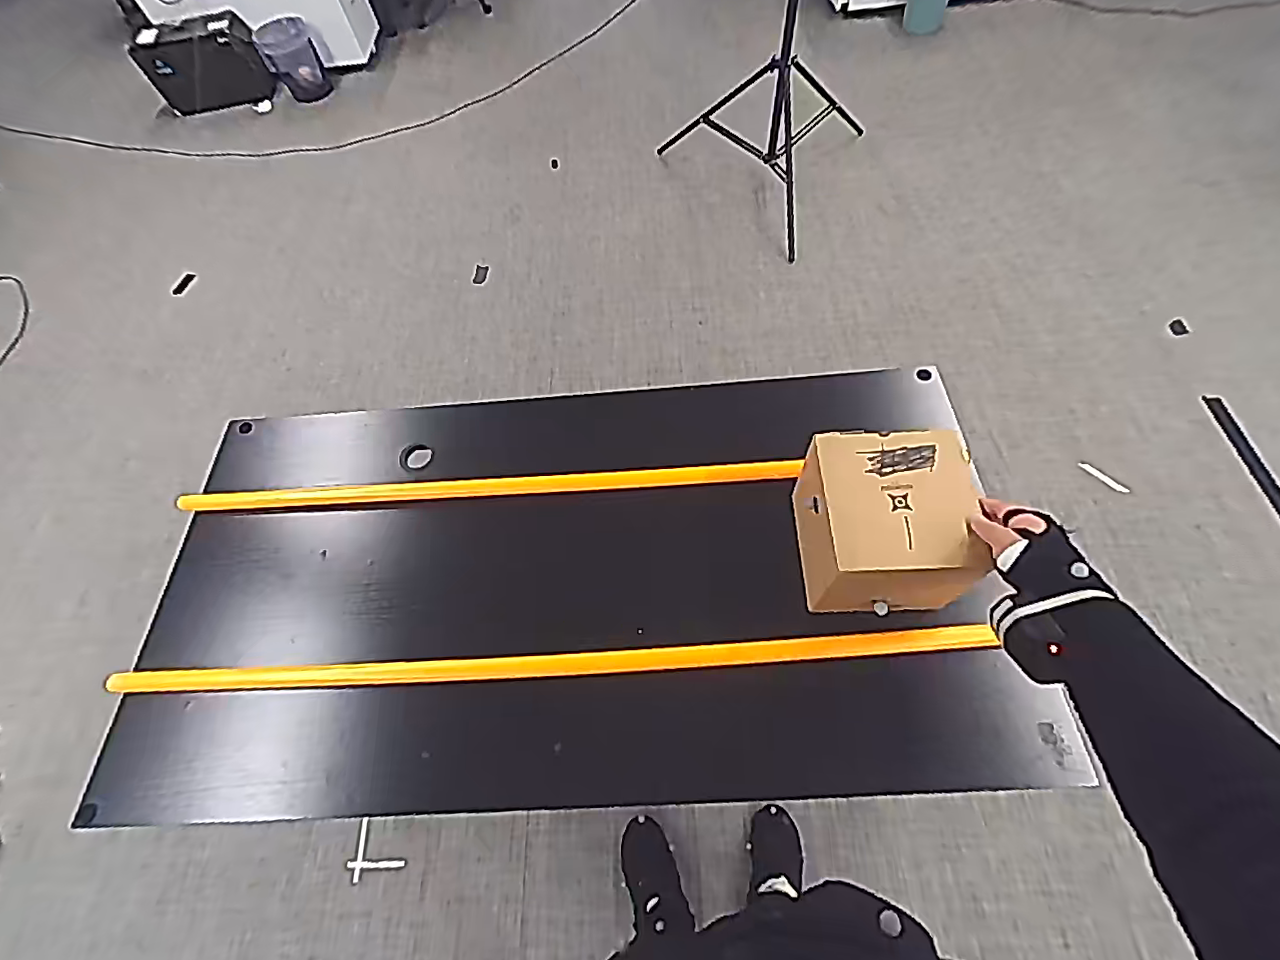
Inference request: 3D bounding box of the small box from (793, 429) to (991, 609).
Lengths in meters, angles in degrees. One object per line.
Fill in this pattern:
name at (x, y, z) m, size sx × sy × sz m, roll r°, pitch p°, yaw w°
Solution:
small box at (0.297, 0.055, 0.685) m, size 0.168 × 0.176 × 0.179 m, roll -3°, pitch 62°, yaw 5°
